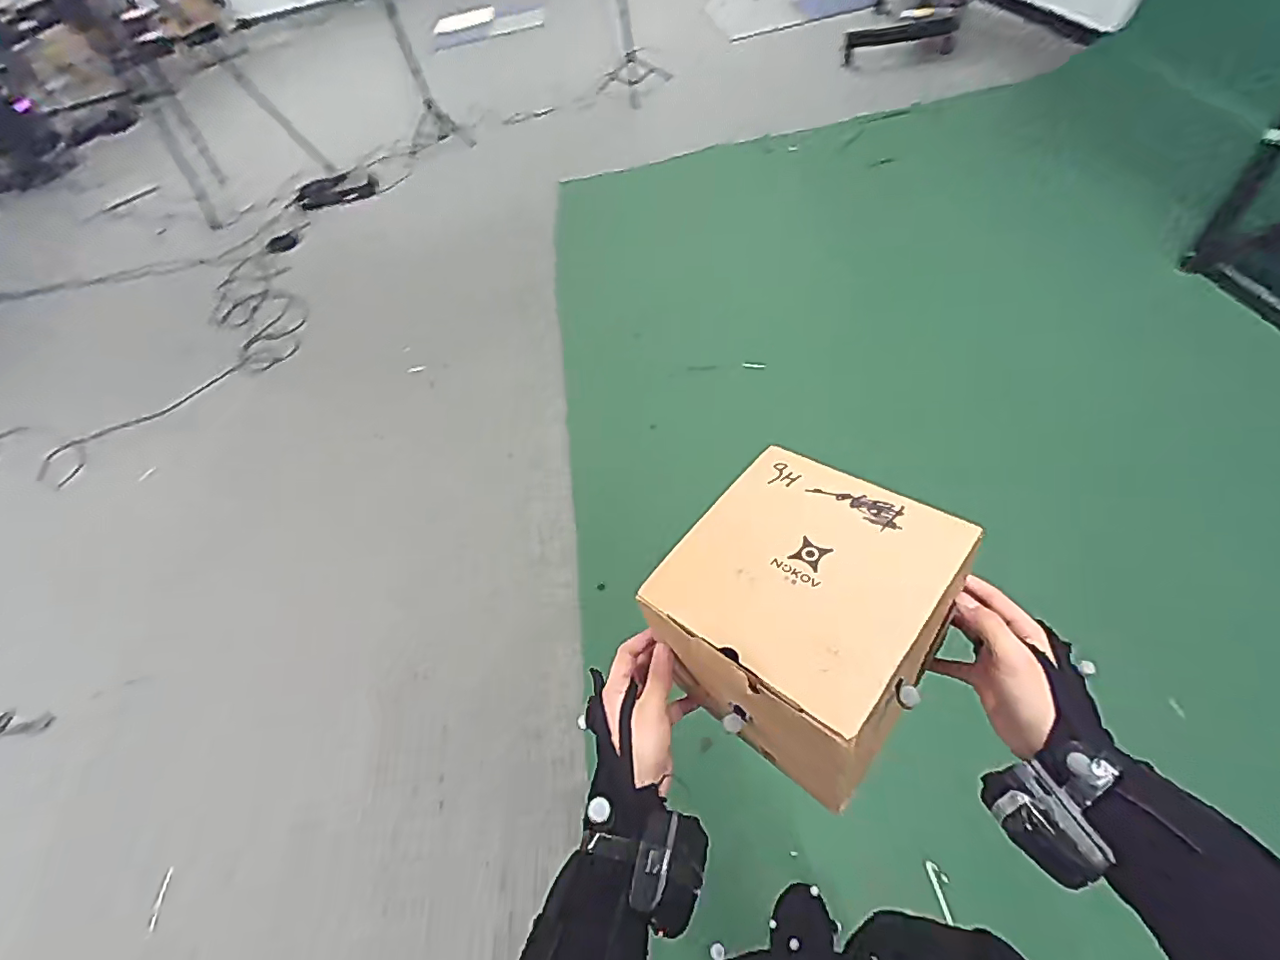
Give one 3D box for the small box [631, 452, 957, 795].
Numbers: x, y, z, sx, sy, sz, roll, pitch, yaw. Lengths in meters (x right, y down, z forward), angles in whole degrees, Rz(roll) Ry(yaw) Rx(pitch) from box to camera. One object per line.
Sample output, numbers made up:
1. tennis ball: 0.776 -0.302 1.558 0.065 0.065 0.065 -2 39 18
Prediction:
1. small box: 0.125 0.114 0.438 0.168 0.176 0.179 27 61 36
